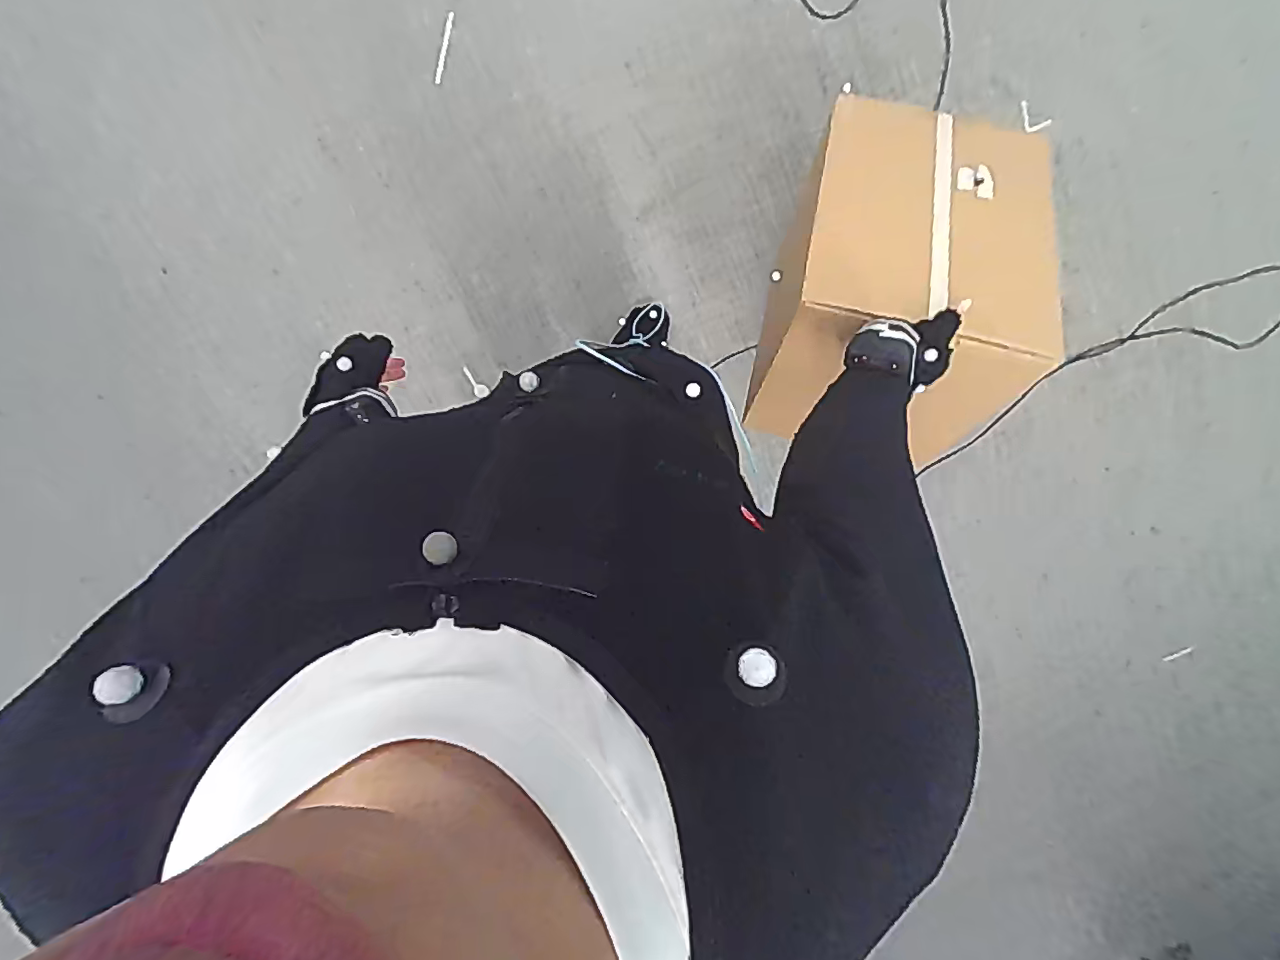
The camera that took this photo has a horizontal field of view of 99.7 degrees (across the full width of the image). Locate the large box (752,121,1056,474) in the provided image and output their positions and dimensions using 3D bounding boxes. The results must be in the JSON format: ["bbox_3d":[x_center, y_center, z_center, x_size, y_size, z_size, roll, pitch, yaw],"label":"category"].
[{"bbox_3d":[0.392,-0.273,0.869,0.320,0.320,0.408,16,66,2],"label":"large box"}]
